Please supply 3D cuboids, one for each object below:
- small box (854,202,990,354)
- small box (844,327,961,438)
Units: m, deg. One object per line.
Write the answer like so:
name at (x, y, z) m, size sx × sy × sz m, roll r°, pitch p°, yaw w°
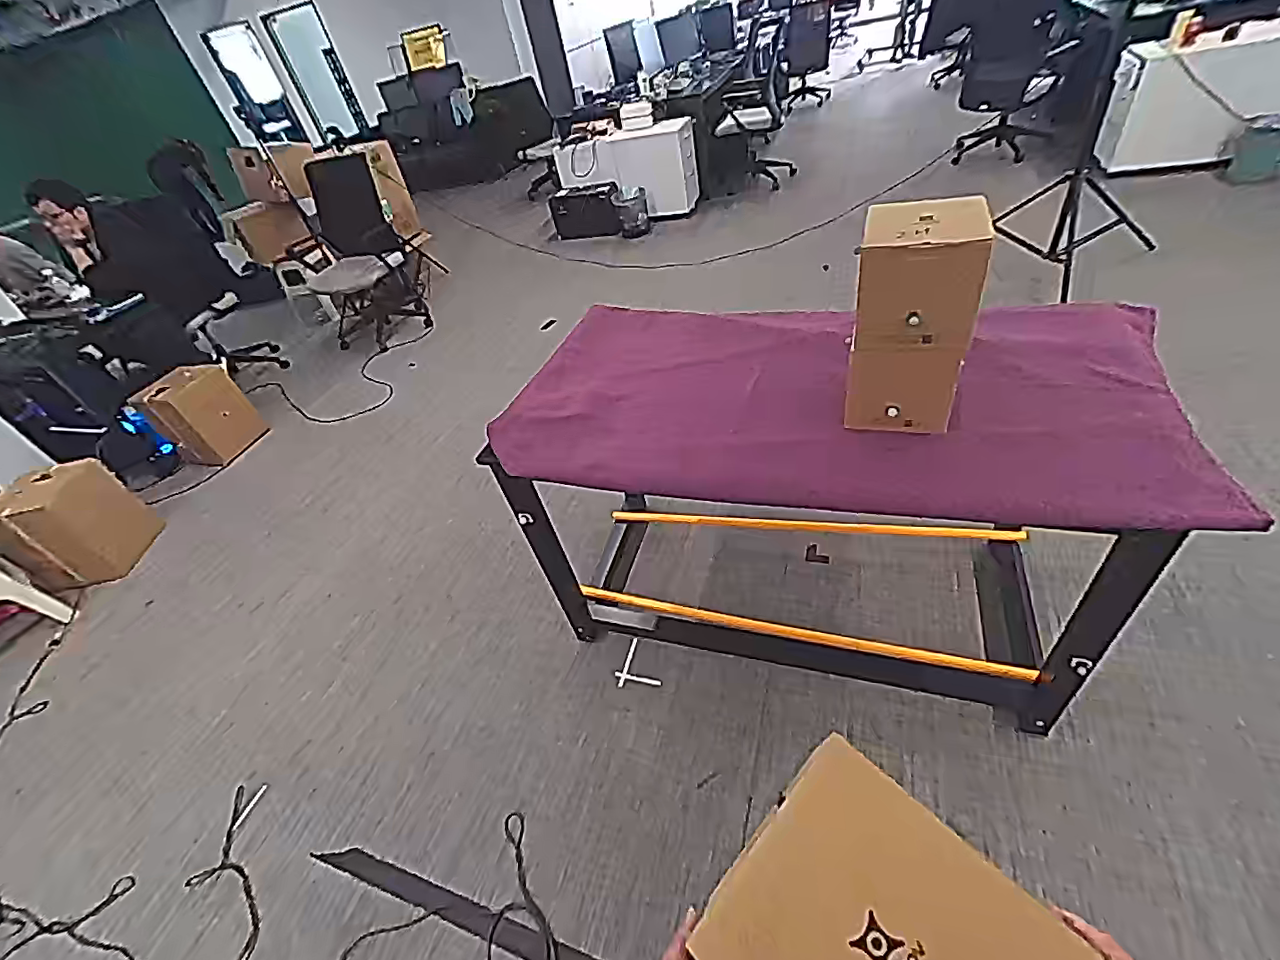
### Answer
small box at (0.436, -0.318, 0.857) m, size 0.168 × 0.176 × 0.179 m, roll 6°, pitch 45°, yaw 23°
small box at (0.463, -0.198, 0.968) m, size 0.168 × 0.176 × 0.179 m, roll 6°, pitch 46°, yaw 22°
